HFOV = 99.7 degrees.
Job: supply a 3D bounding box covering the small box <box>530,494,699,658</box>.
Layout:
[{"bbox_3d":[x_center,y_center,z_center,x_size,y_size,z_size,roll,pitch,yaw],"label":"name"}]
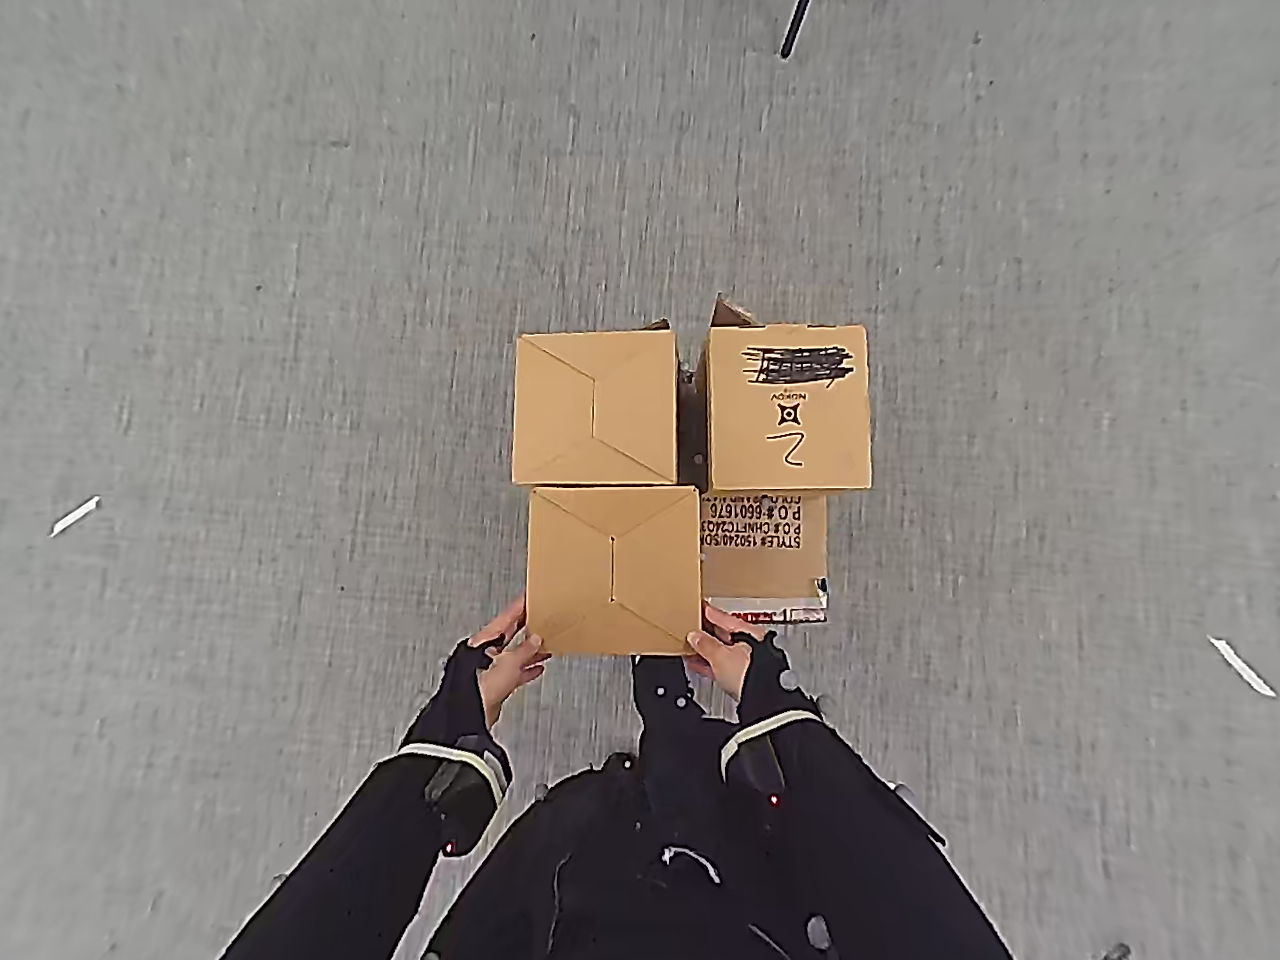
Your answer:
[{"bbox_3d":[-0.026,0.109,0.627,0.179,0.176,0.168,0,80,3],"label":"small box"}]
